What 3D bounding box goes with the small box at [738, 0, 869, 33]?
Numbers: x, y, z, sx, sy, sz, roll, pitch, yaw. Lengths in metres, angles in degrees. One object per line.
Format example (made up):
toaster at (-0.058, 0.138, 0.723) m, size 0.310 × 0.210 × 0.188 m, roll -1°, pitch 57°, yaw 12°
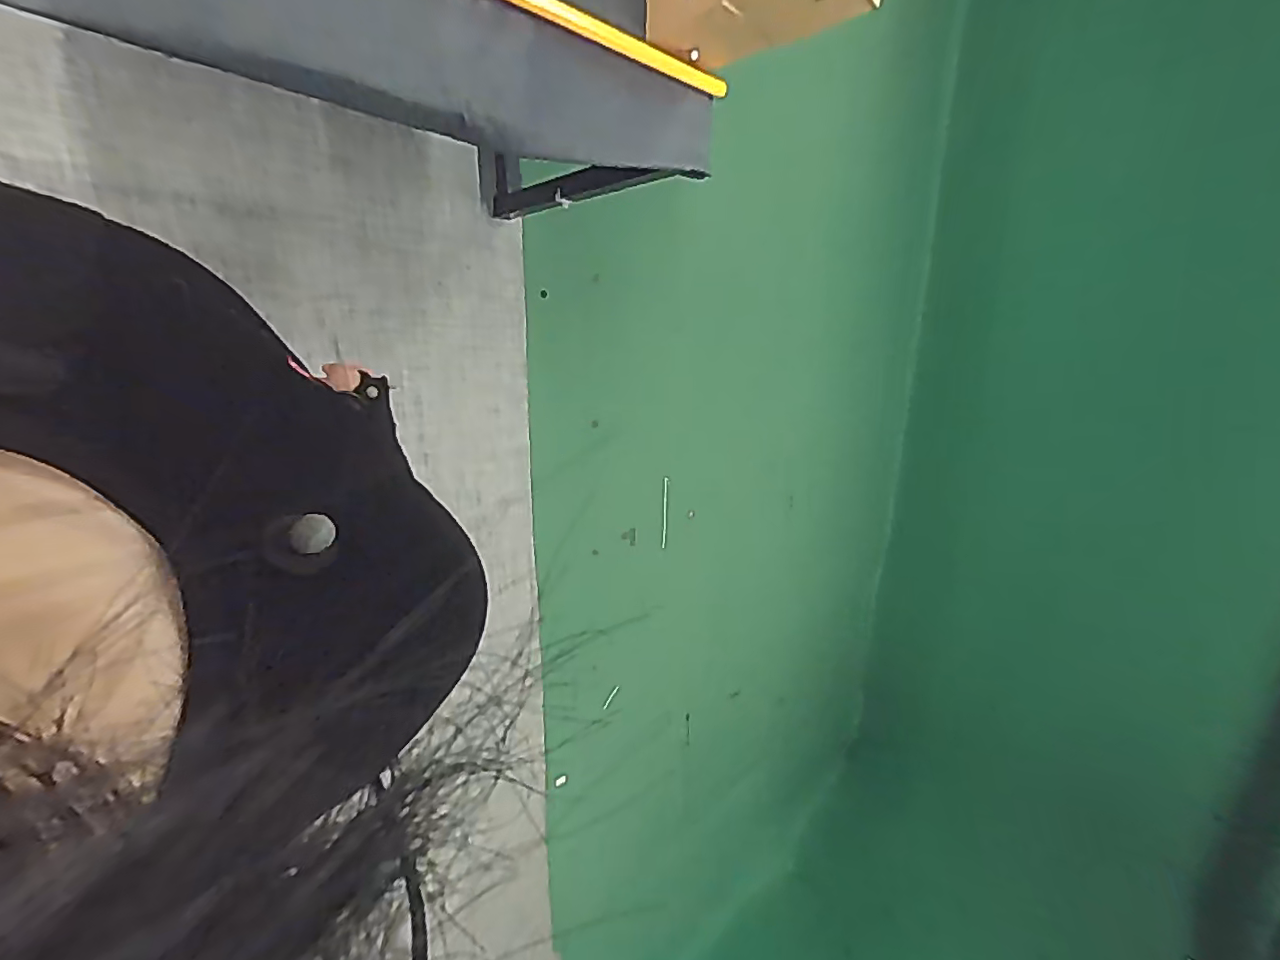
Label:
small box at (0.238, -0.794, 0.778) m, size 0.179 × 0.176 × 0.168 m, roll -8°, pitch 108°, yaw -44°
